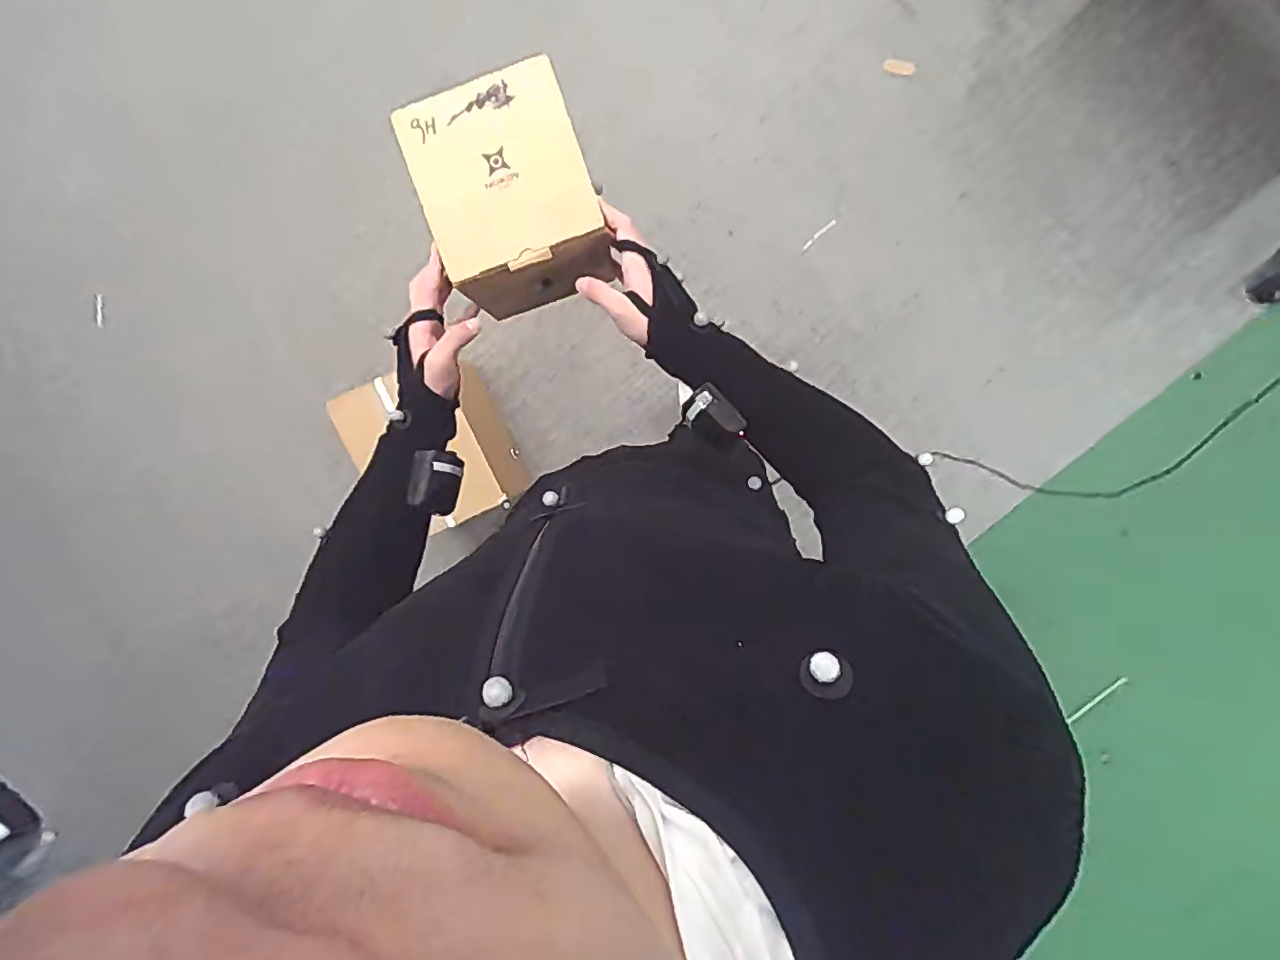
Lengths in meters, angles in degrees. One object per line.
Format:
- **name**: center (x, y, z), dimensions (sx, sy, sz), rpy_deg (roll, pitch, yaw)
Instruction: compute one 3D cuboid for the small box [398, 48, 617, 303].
- **small box**: center (-0.128, -0.311, 0.600), dimensions (0.168, 0.176, 0.179), rpy_deg (-18, 95, 2)
